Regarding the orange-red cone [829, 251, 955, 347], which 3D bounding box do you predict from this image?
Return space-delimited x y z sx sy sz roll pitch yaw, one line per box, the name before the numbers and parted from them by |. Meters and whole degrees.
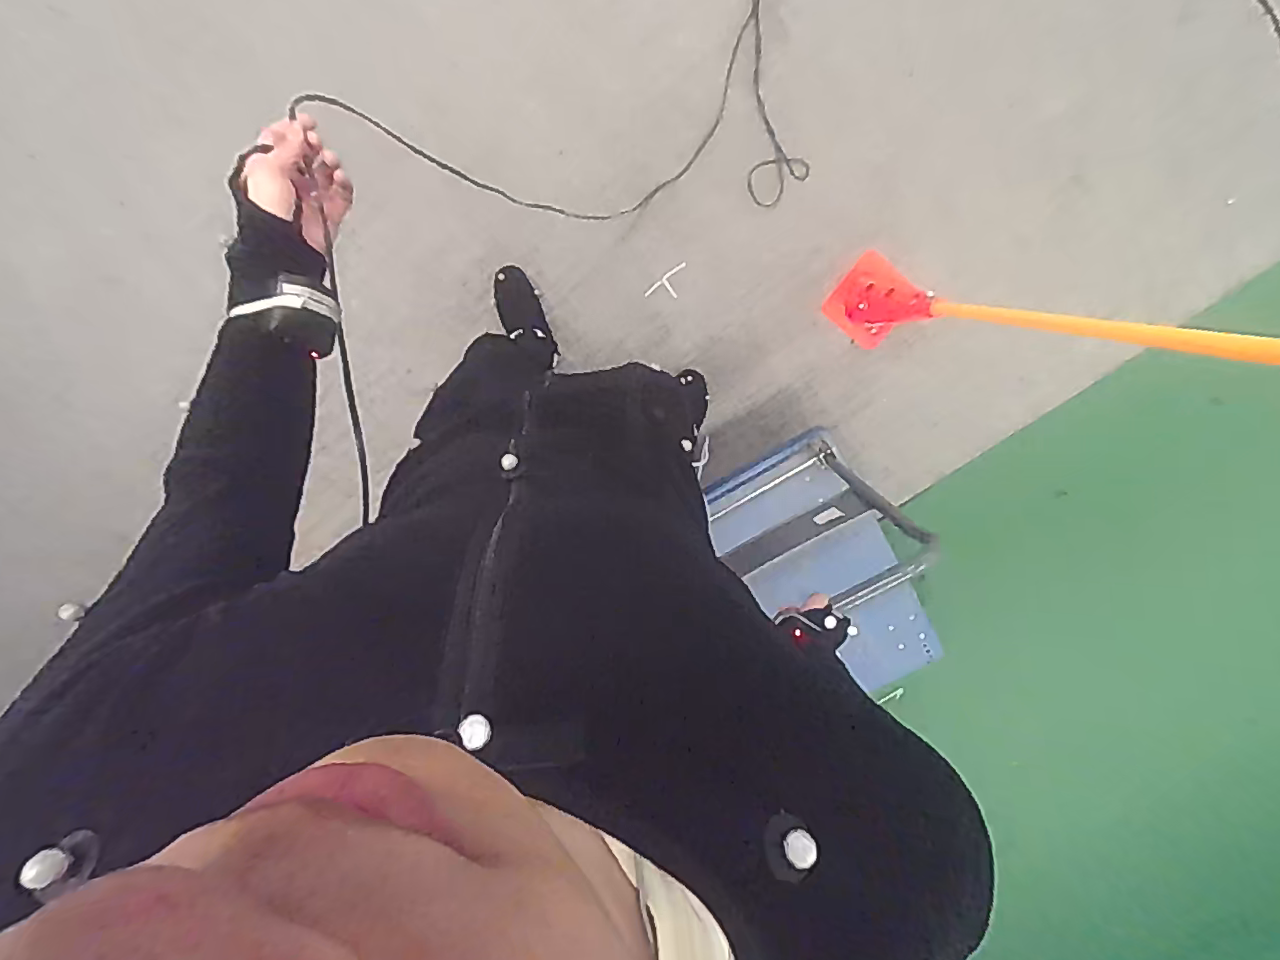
orange-red cone | 0.647 -0.432 1.314 0.198 0.360 0.199 36 104 -14
